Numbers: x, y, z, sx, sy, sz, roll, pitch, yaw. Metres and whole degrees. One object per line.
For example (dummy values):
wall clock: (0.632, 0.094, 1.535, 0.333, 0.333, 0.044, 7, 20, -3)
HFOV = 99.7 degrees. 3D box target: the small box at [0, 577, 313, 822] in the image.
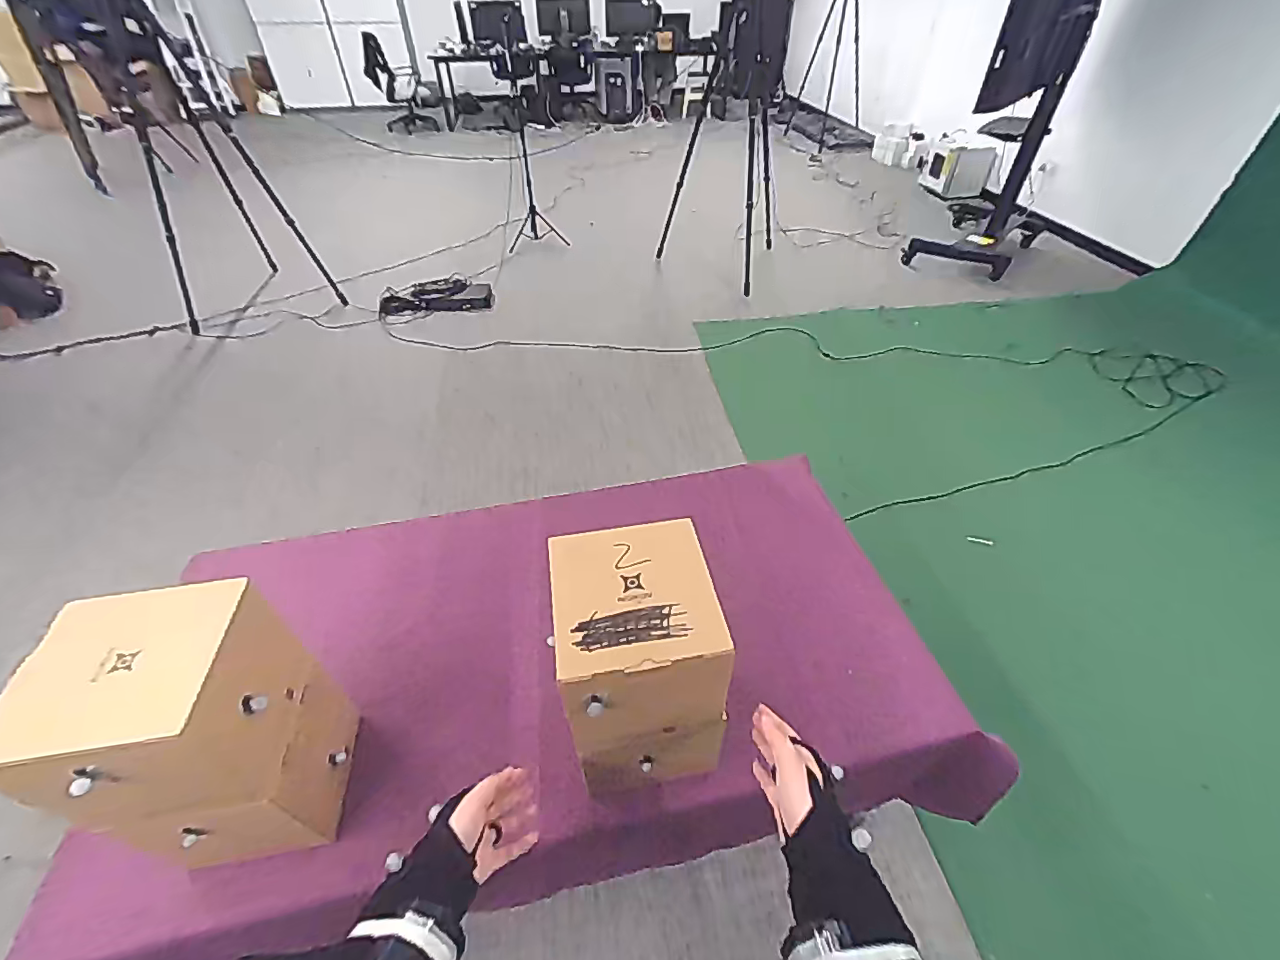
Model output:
small box: (-0.474, 0.224, 0.554, 0.179, 0.176, 0.168, -8, 44, -6)

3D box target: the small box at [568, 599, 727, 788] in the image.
small box: (0.003, 0.284, 0.719, 0.179, 0.176, 0.168, -8, 44, -6)

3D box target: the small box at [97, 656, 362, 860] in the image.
small box: (-0.477, 0.343, 0.666, 0.179, 0.176, 0.168, -7, 45, -6)
